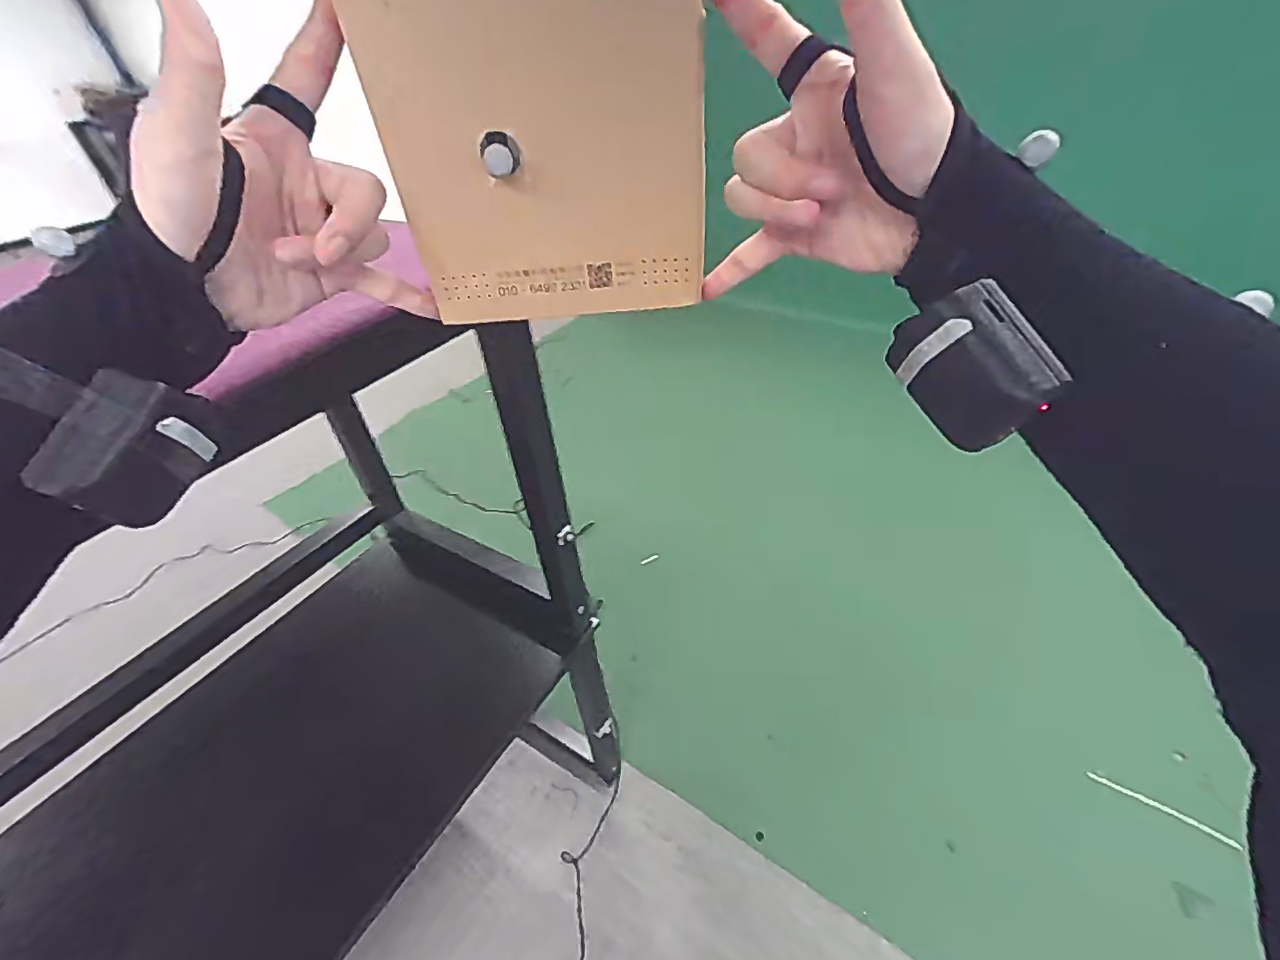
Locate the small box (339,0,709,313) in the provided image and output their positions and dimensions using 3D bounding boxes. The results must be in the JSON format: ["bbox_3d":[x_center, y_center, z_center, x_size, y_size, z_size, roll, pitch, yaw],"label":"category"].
[{"bbox_3d":[-0.046,-0.217,0.345,0.168,0.176,0.179,-4,41,2],"label":"small box"}]
